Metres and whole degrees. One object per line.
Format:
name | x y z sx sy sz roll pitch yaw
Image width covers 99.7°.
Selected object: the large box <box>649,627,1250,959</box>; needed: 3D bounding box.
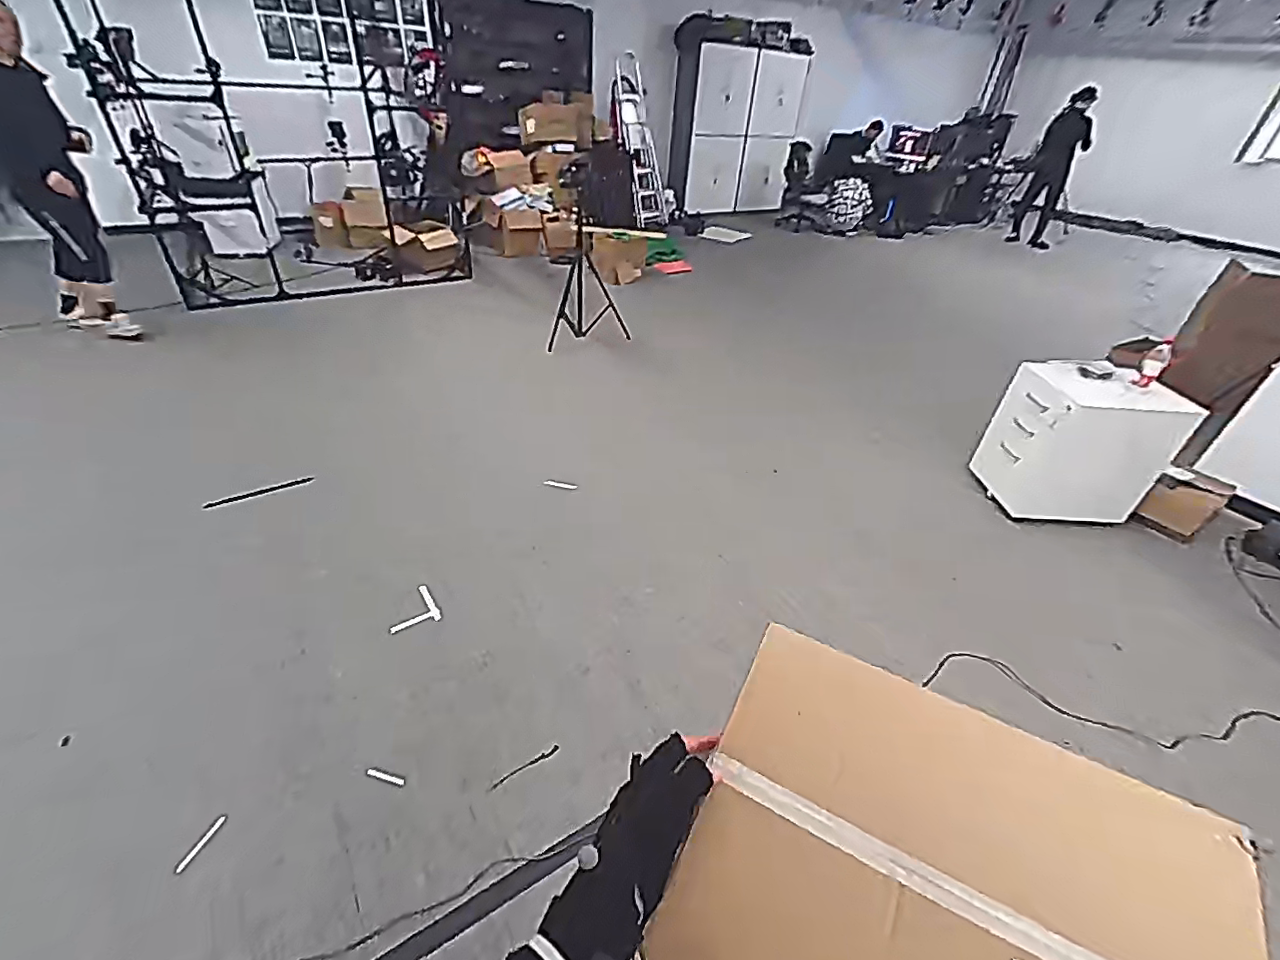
large box | 0.254 0.421 0.551 0.408 0.320 0.320 21 55 20
